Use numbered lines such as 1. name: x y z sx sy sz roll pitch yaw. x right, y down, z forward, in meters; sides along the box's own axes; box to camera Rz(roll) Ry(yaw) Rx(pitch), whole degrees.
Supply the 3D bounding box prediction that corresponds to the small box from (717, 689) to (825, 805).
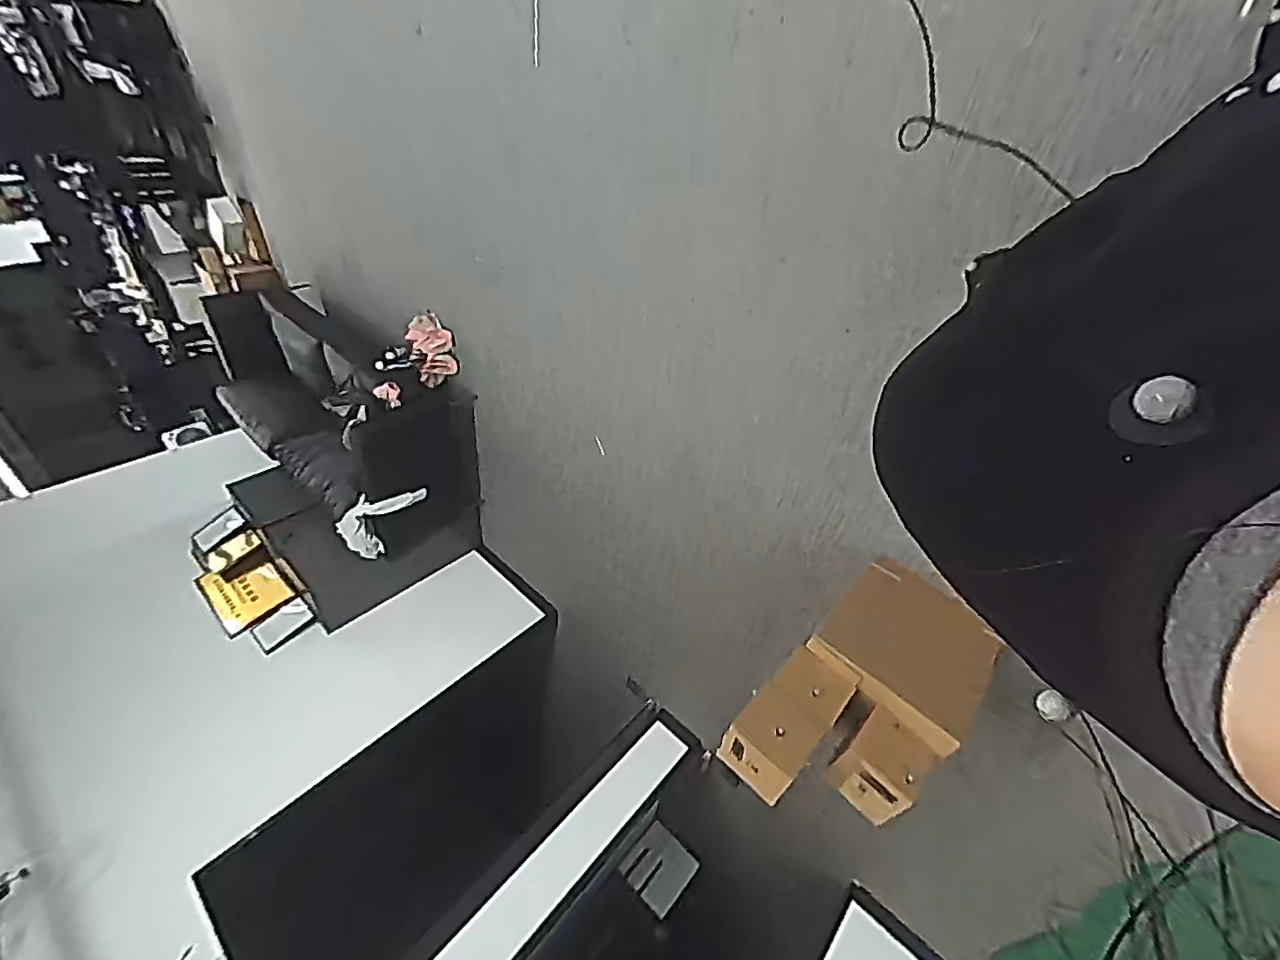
1. small box: 0.325 0.653 1.349 0.179 0.176 0.168 35 136 26
